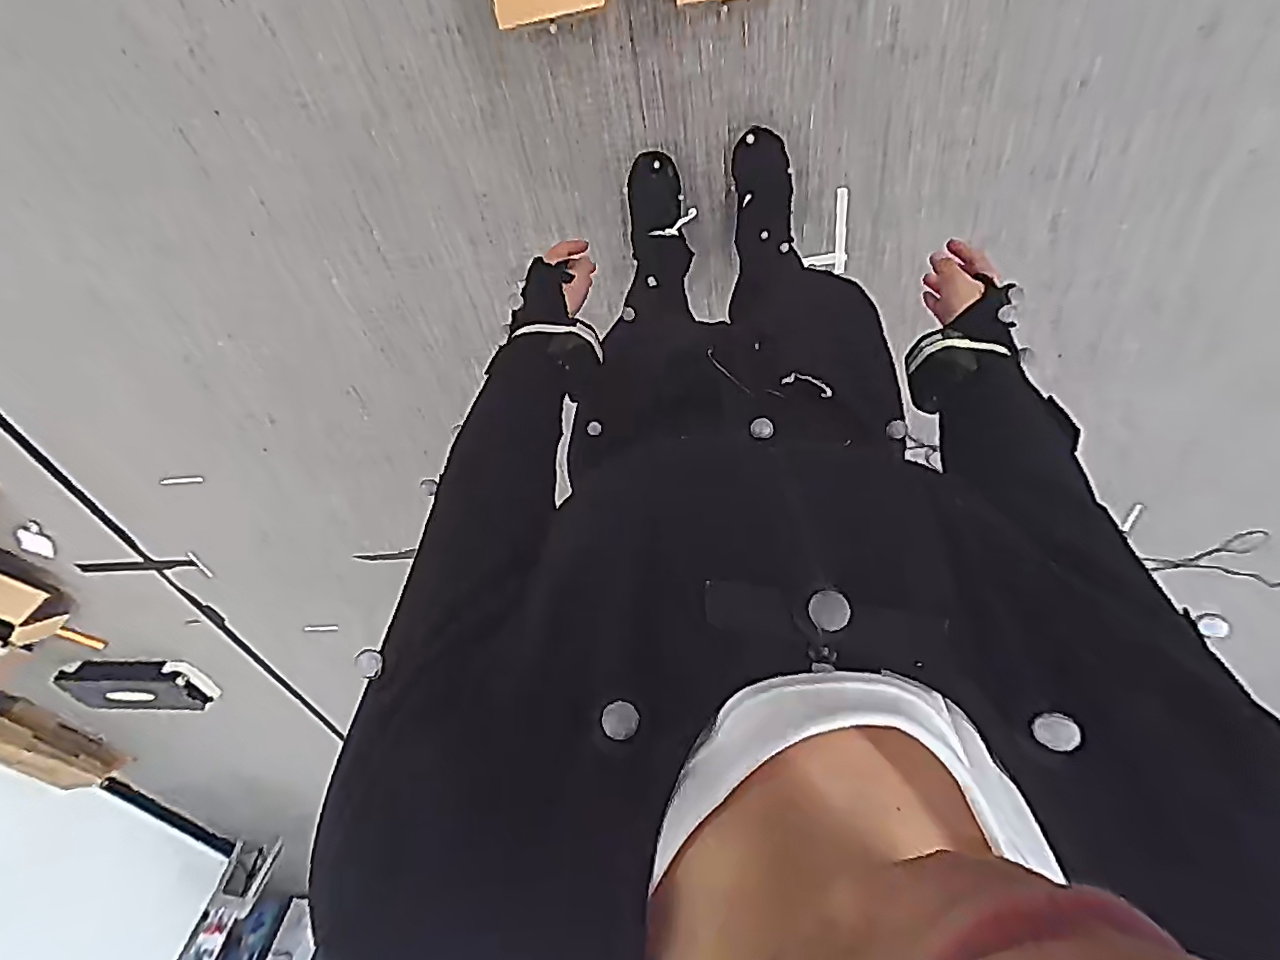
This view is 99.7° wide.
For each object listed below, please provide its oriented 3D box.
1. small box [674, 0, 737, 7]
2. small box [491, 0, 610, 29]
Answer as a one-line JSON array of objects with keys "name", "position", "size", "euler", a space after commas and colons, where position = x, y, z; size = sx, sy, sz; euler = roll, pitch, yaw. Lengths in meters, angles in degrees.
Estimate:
[{"name": "small box", "position": [0.130, -0.838, 0.815], "size": [0.168, 0.176, 0.179], "euler": [-3, 130, 6]}, {"name": "small box", "position": [-0.146, -0.830, 0.846], "size": [0.179, 0.176, 0.168], "euler": [-4, 130, 9]}]
